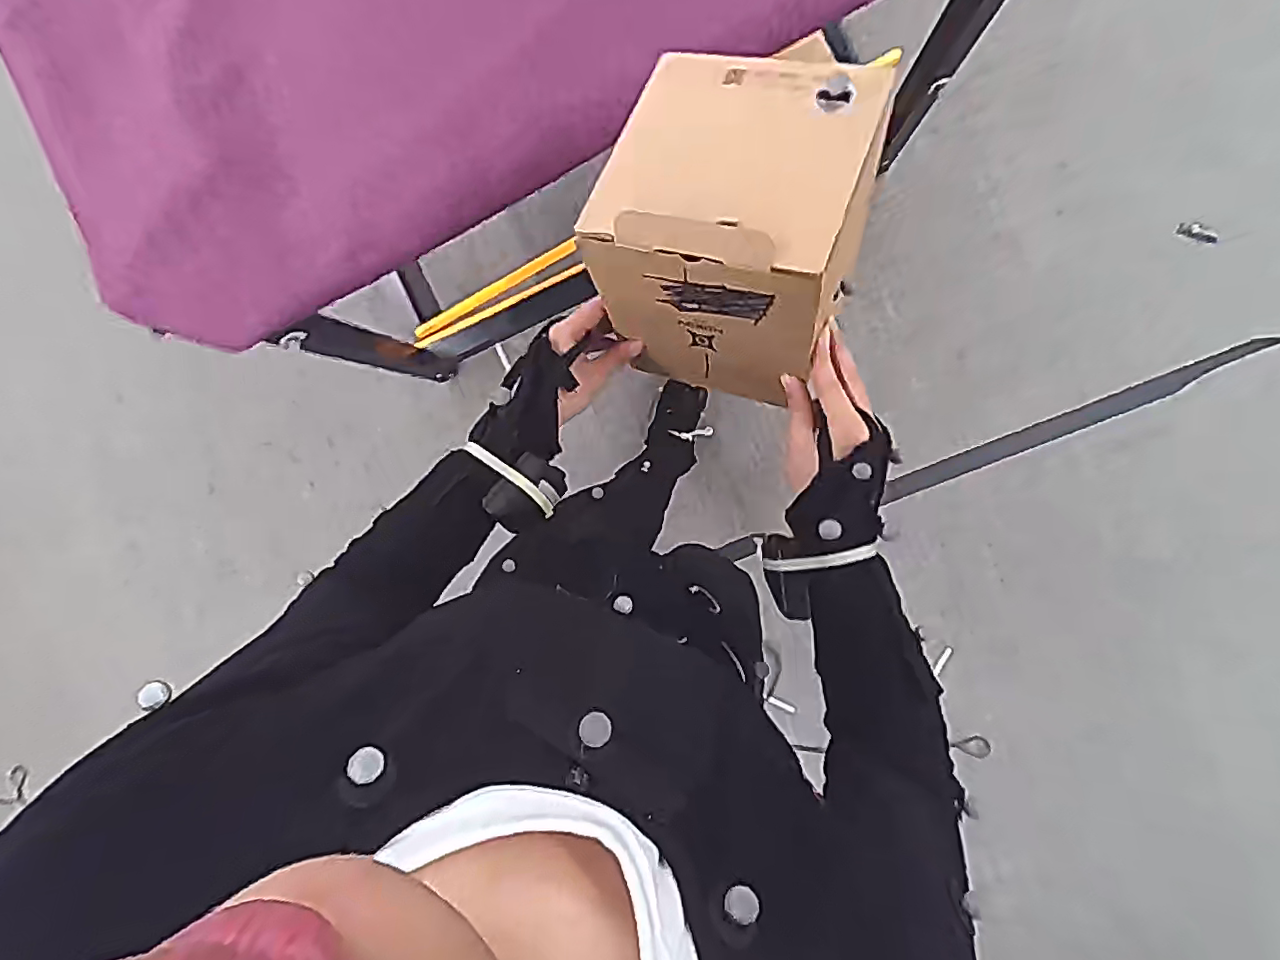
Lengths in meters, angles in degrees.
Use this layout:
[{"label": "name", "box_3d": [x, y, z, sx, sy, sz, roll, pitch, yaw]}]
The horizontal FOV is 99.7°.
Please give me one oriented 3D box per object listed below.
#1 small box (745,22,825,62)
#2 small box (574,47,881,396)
[{"label": "small box", "box_3d": [0.267, -0.730, 1.072, 0.179, 0.176, 0.168, -25, 92, 7]}, {"label": "small box", "box_3d": [0.074, -0.195, 0.426, 0.168, 0.179, 0.176, 18, 77, 18]}]
